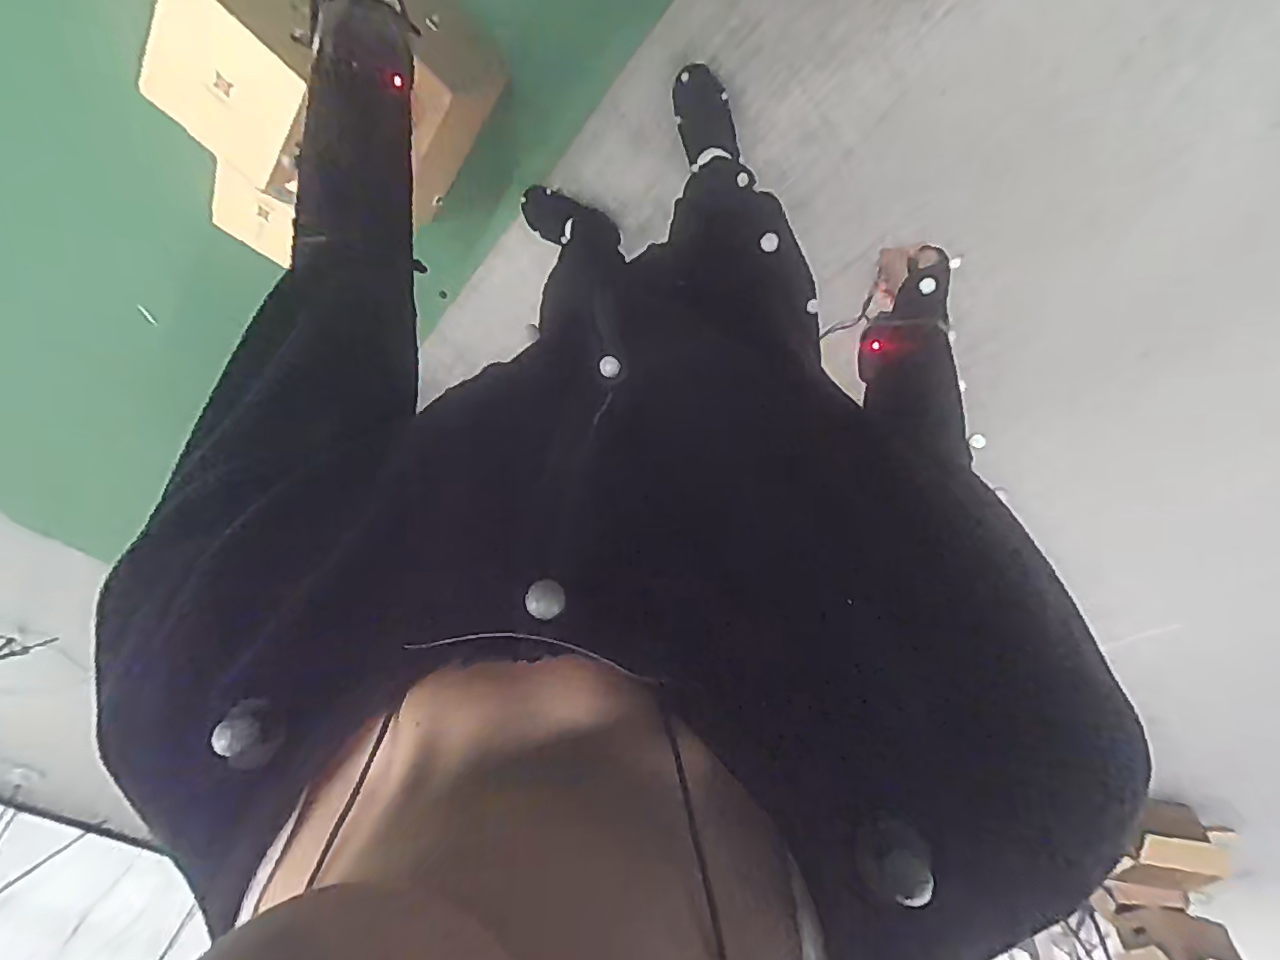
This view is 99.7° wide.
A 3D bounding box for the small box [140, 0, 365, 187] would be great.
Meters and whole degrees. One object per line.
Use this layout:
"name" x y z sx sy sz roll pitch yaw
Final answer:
"small box" -0.506 -0.545 0.728 0.168 0.176 0.179 39 127 -23
